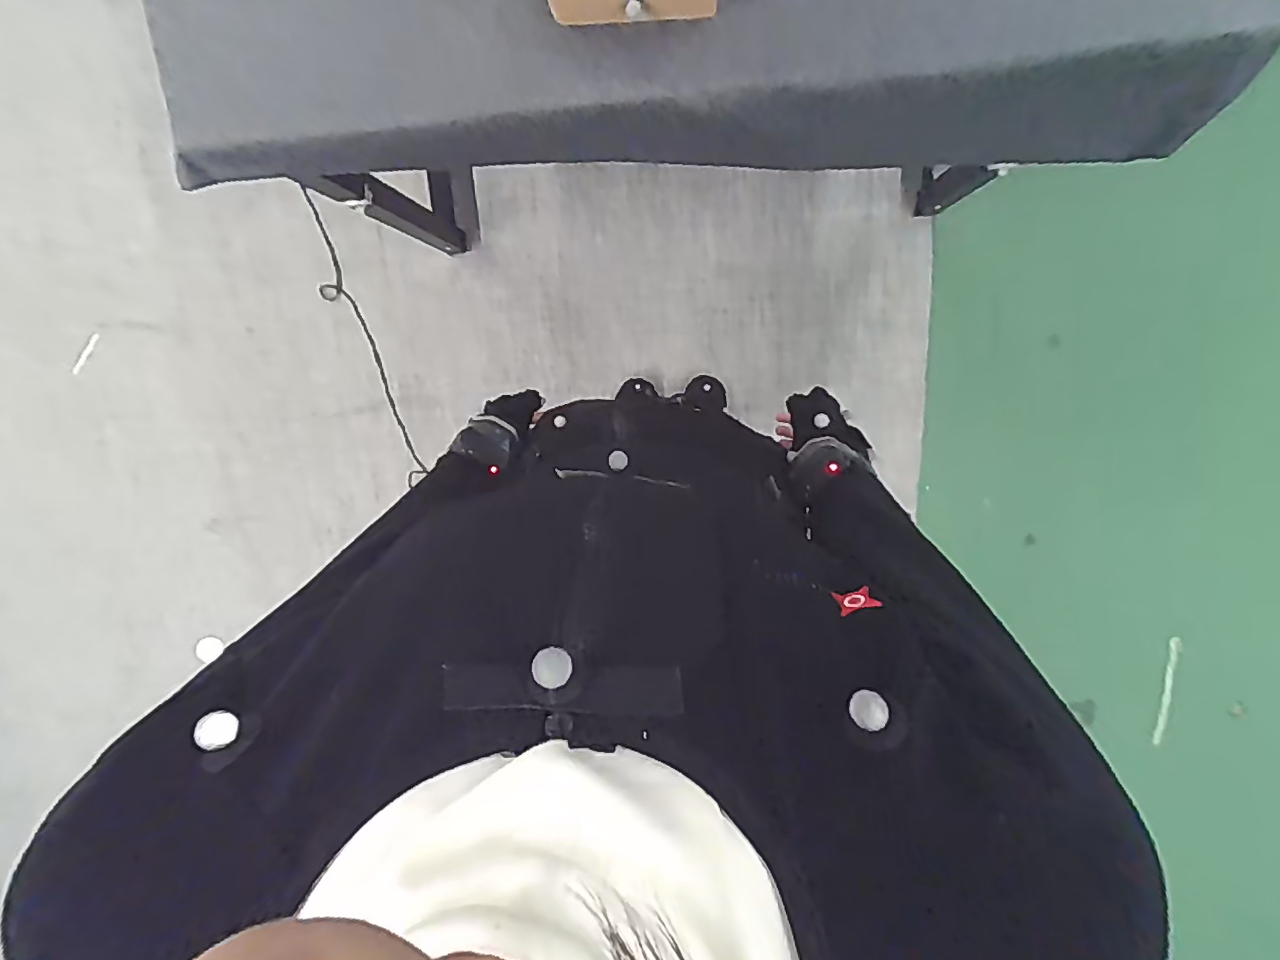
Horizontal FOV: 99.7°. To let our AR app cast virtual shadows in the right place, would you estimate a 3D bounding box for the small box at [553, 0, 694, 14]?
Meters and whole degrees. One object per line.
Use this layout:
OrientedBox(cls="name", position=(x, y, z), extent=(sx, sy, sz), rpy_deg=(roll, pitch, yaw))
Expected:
OrientedBox(cls="small box", position=(-0.013, -0.571, 0.493), extent=(0.179, 0.176, 0.168), rpy_deg=(0, 101, 4))
